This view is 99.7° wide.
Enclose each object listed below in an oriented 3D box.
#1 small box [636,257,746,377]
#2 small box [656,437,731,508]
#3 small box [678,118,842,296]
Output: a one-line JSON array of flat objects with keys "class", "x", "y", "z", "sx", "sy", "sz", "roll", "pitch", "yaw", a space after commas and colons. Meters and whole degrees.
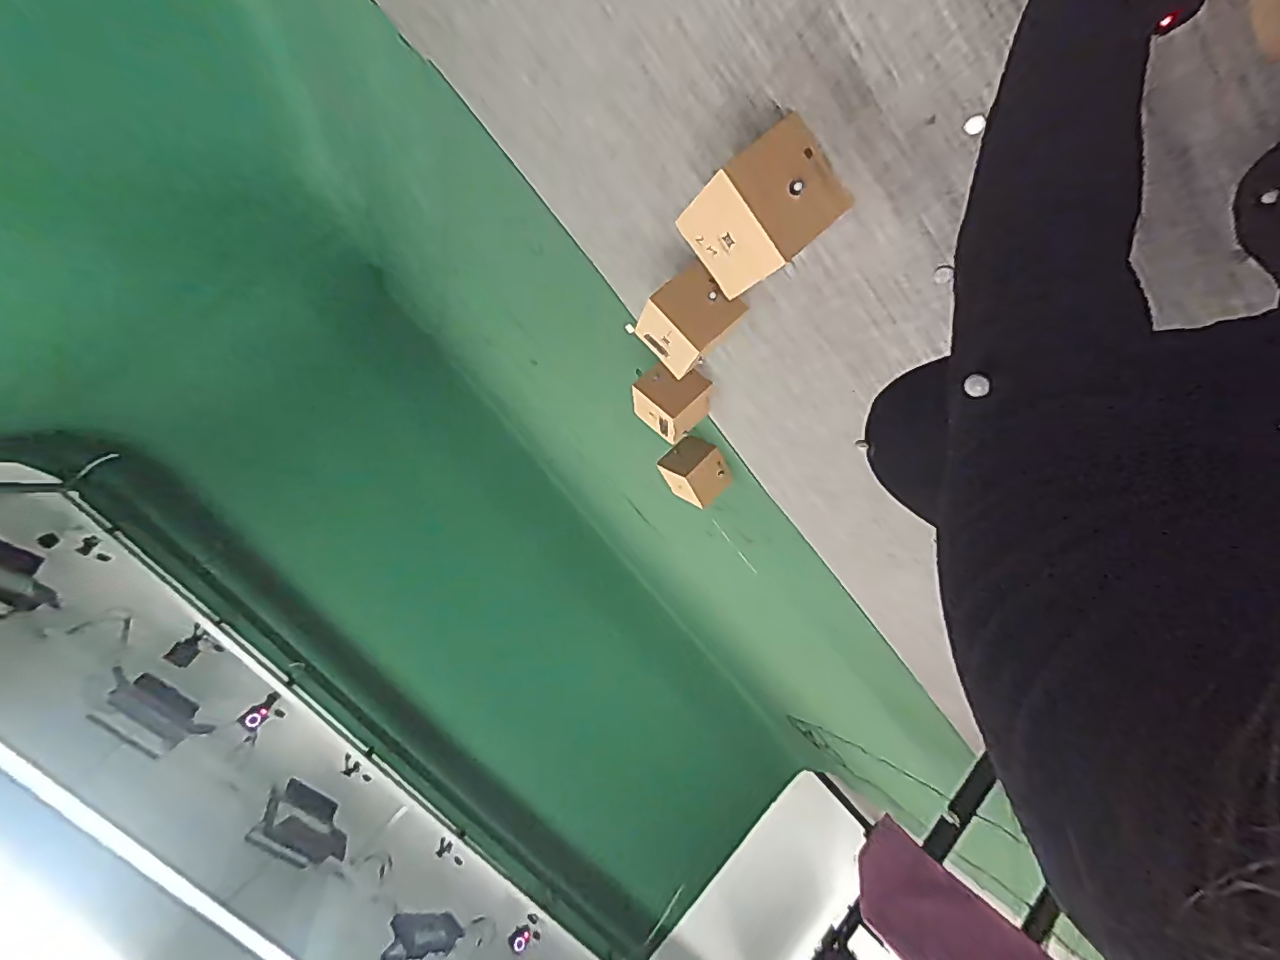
[{"class": "small box", "x": 0.119, "y": -0.380, "z": 1.272, "sx": 0.168, "sy": 0.176, "sz": 0.179, "roll": 47, "pitch": 164, "yaw": -1}, {"class": "small box", "x": 0.196, "y": -0.034, "z": 1.953, "sx": 0.179, "sy": 0.176, "sz": 0.168, "roll": 28, "pitch": 156, "yaw": 51}, {"class": "small box", "x": 0.201, "y": -0.442, "z": 0.888, "sx": 0.168, "sy": 0.176, "sz": 0.179, "roll": 51, "pitch": 164, "yaw": -13}]
